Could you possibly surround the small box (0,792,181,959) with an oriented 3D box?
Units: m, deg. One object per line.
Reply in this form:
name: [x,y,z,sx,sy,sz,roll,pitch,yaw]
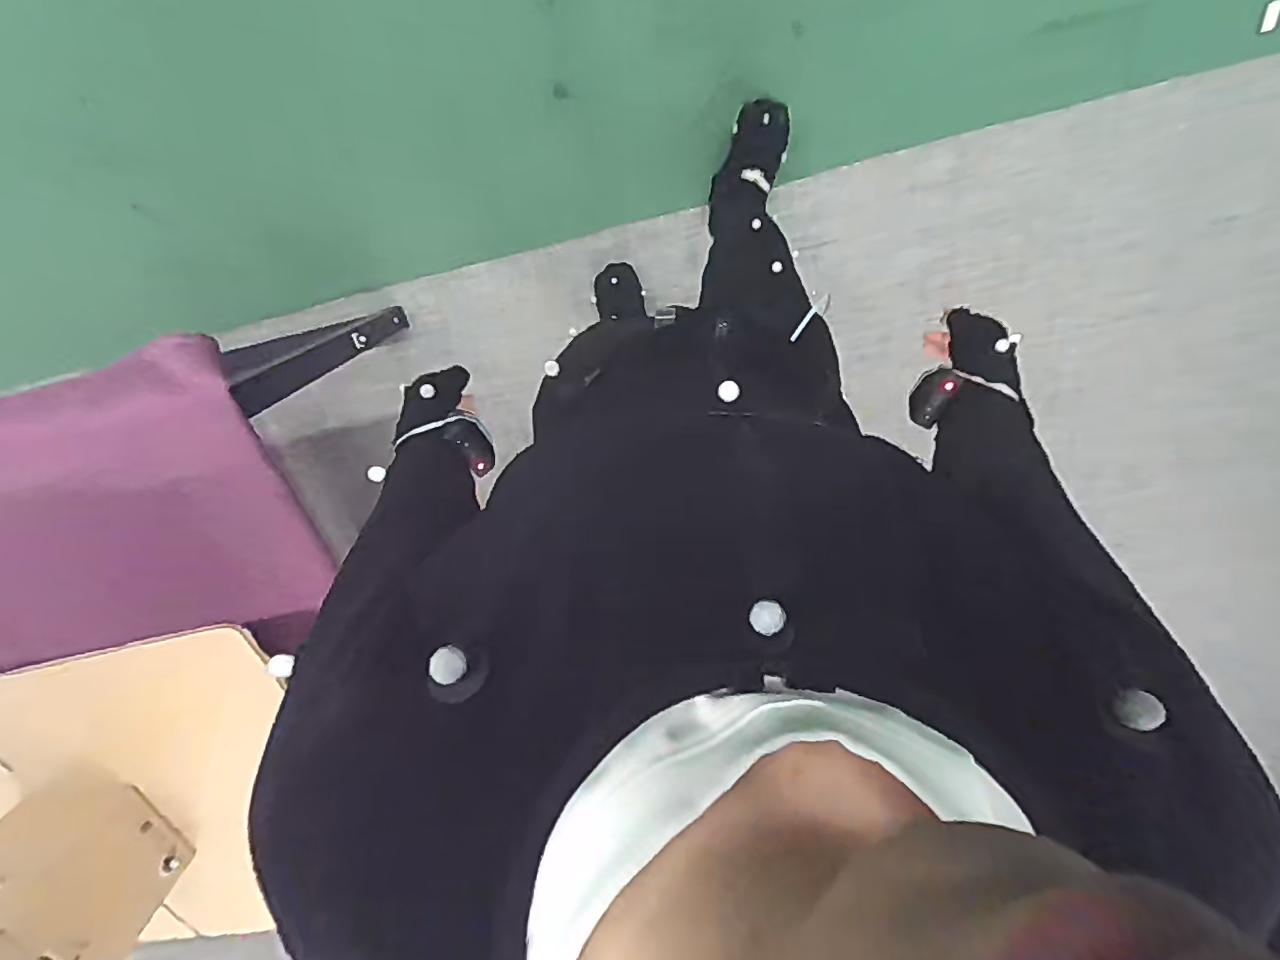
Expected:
small box: [-0.753,0.534,0.697,0.179,0.176,0.168,-12,117,5]
